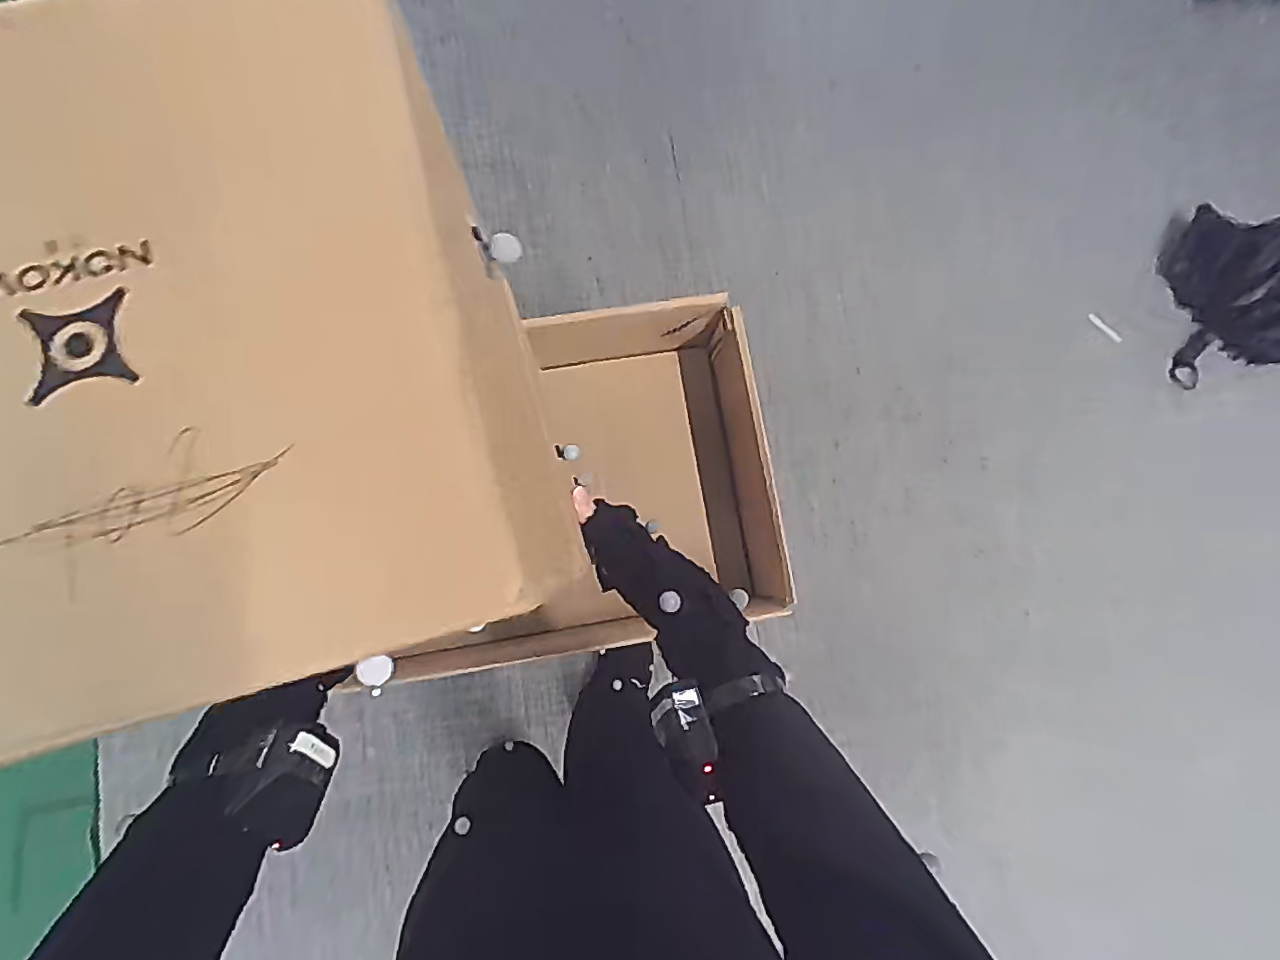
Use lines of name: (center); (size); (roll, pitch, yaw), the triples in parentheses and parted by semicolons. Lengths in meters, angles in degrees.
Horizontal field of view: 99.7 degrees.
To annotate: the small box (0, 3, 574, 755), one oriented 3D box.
small box: (-0.130, -0.021, 0.215); (0.168, 0.176, 0.179); (-16, 83, -4)
